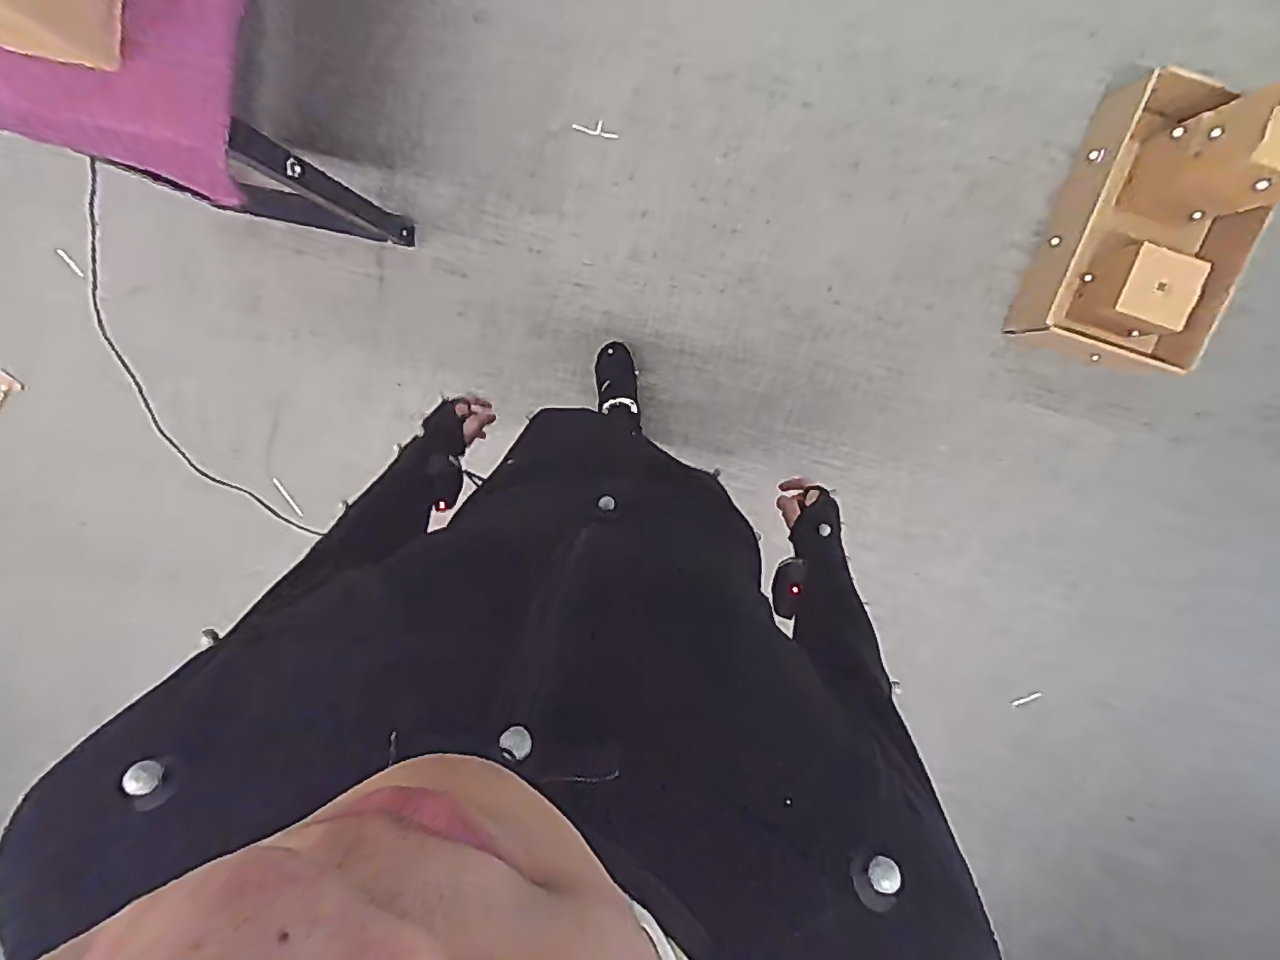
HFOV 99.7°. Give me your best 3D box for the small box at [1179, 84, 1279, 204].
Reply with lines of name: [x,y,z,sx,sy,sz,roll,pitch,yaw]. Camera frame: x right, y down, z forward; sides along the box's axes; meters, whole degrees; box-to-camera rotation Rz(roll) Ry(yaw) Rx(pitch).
small box: [1.330,-0.709,1.143,0.179,0.176,0.168,17,101,-2]

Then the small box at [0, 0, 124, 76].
small box: [-0.837,-0.670,0.706,0.179,0.176,0.168,11,101,0]

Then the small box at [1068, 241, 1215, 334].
small box: [1.244,-0.473,1.355,0.179,0.176,0.168,17,99,-1]
